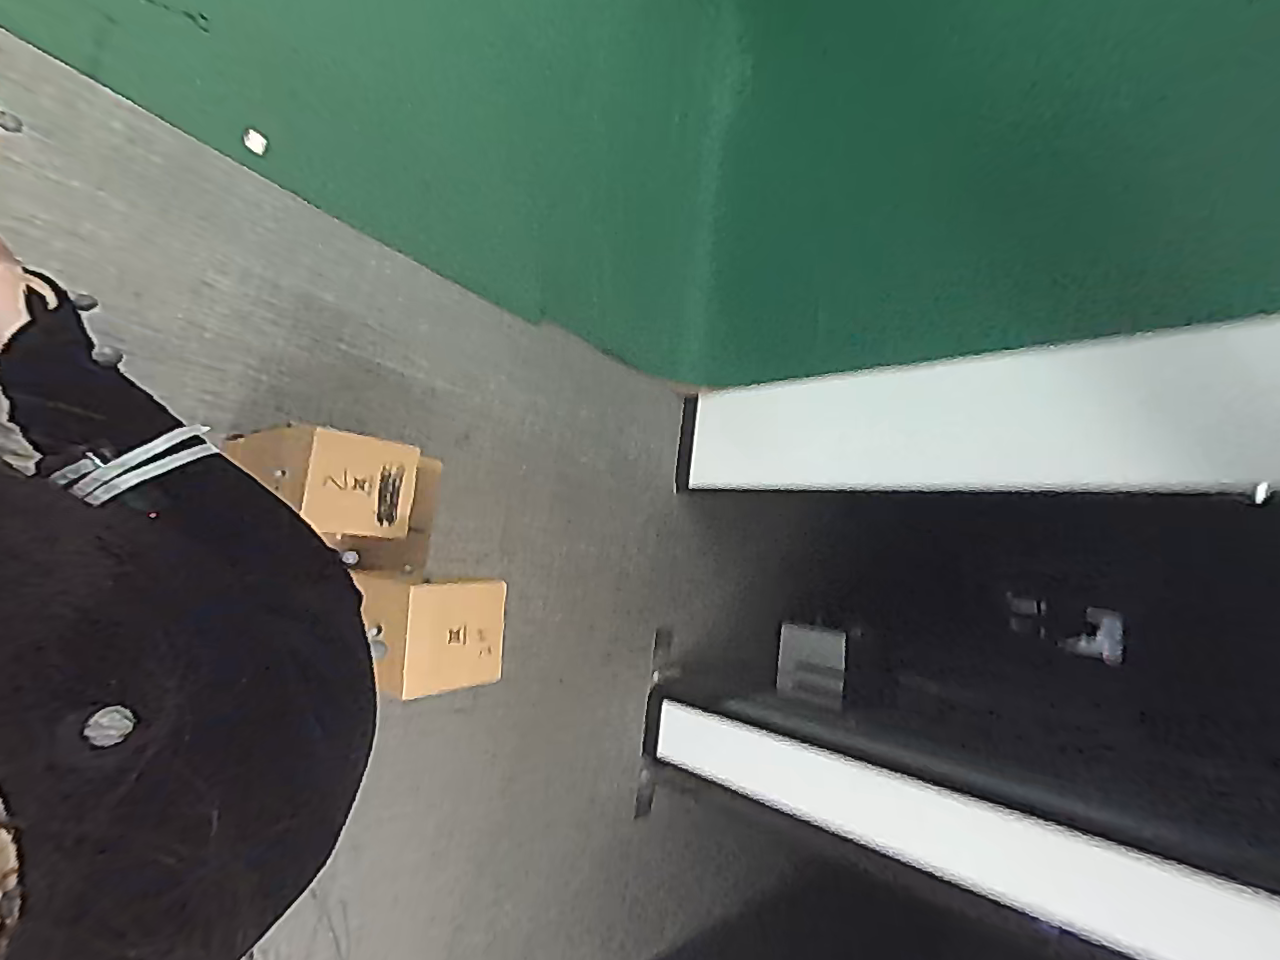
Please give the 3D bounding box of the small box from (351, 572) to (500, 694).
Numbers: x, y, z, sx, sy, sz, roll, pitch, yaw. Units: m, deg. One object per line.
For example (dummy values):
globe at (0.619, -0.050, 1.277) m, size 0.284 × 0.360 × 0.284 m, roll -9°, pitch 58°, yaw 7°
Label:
small box at (-0.365, 0.249, 0.919) m, size 0.179 × 0.176 × 0.168 m, roll 10°, pitch 82°, yaw -50°

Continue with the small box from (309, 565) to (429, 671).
small box at (-0.492, 0.253, 1.024) m, size 0.179 × 0.176 × 0.168 m, roll 14°, pitch 79°, yaw -48°
